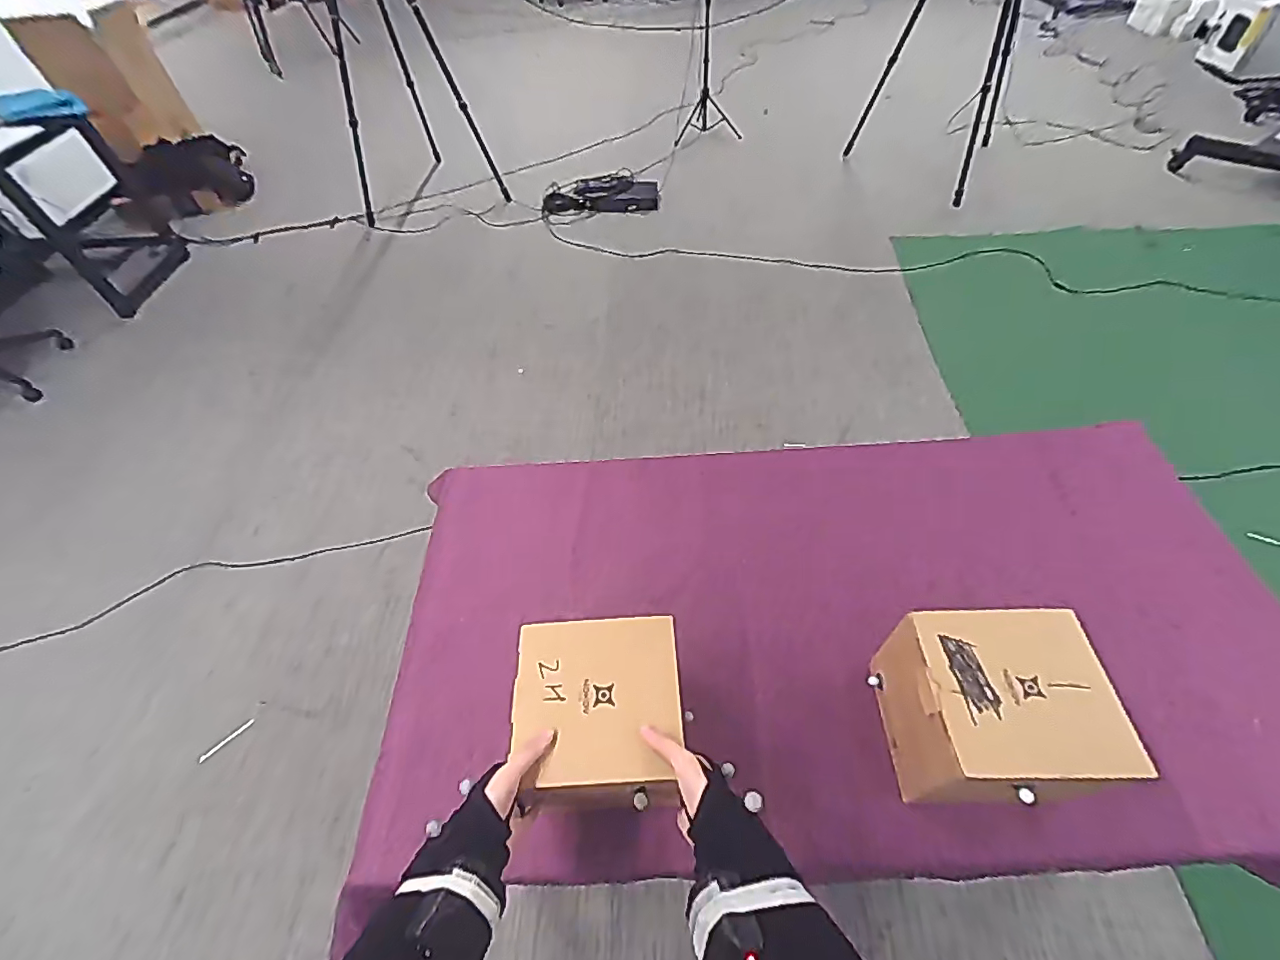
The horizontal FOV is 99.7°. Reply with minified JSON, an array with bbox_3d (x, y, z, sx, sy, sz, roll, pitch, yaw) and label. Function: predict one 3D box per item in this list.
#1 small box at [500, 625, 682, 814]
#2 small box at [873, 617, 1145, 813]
[{"bbox_3d":[-0.045,0.279,0.624,0.179,0.176,0.168,-3,52,1],"label":"small box"},{"bbox_3d":[0.378,0.265,0.604,0.179,0.176,0.168,-1,52,3],"label":"small box"}]
